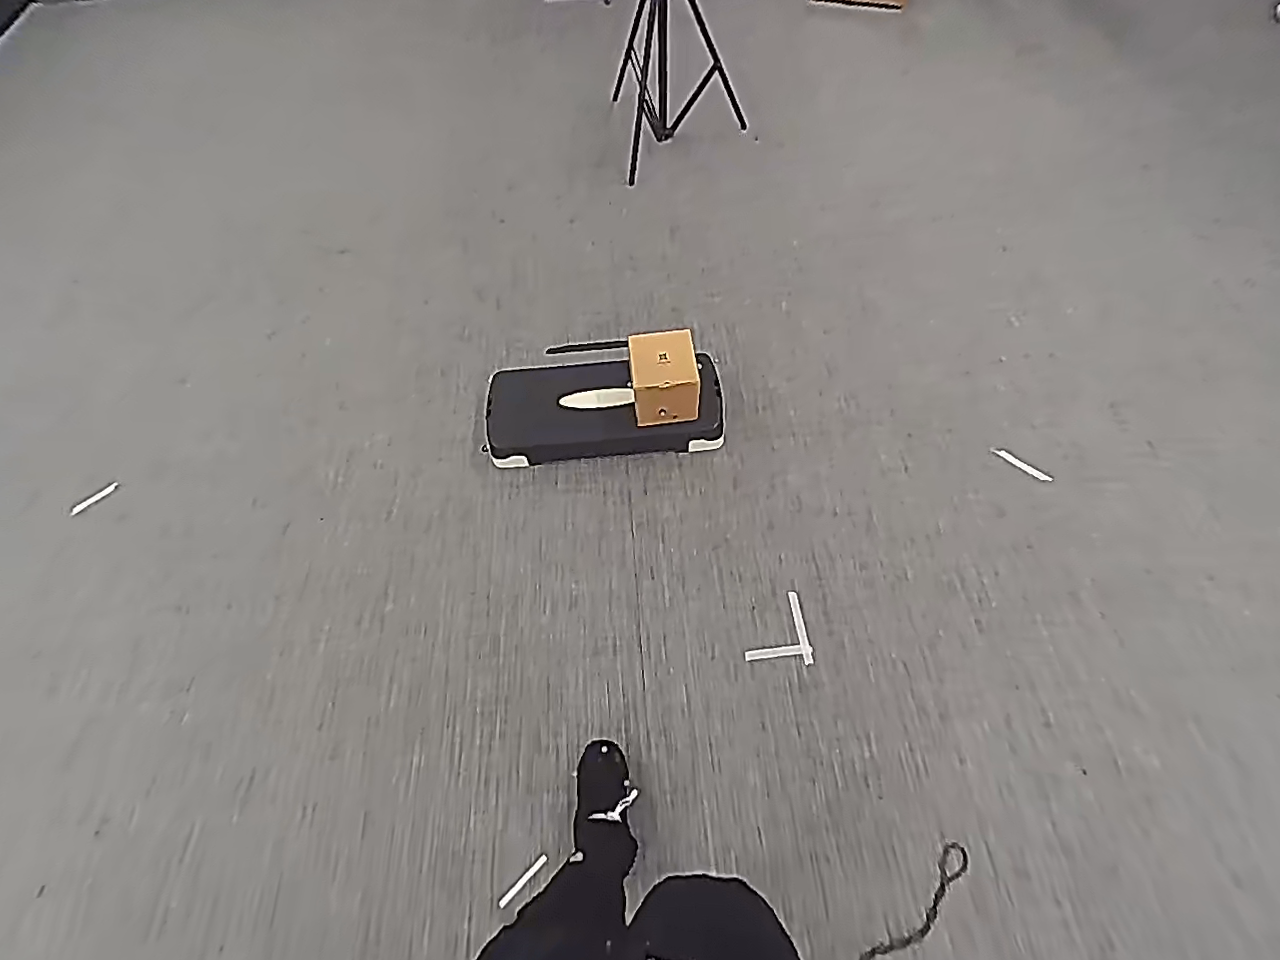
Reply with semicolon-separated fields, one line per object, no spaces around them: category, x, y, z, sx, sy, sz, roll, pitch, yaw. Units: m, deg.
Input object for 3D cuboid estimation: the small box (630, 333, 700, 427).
small box;0.063;-0.265;1.442;0.168;0.176;0.179;-7;63;-1
